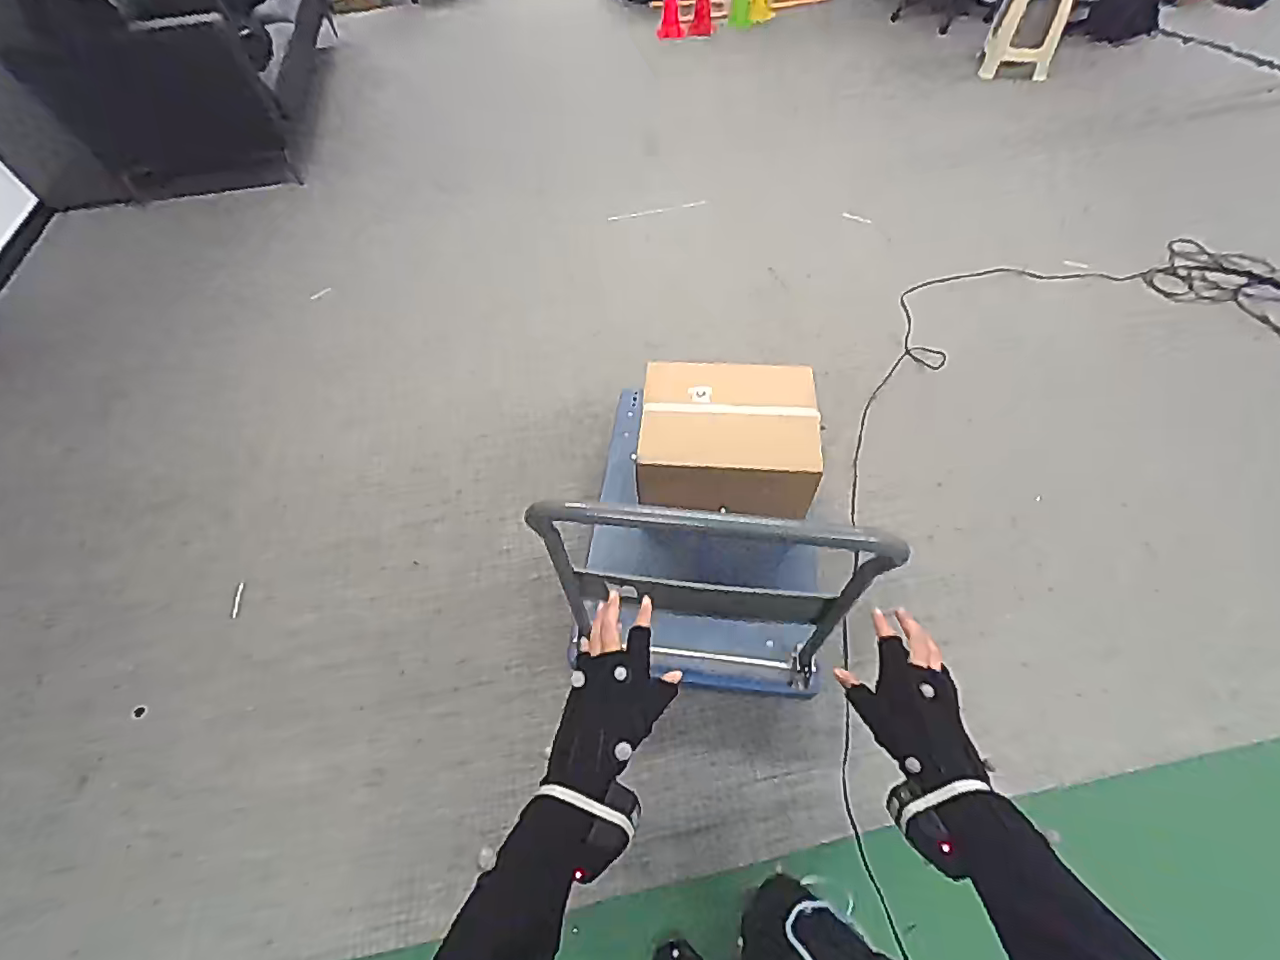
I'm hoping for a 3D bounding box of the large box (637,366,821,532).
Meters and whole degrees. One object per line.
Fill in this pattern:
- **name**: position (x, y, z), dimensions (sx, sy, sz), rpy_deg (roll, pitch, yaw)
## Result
- **large box**: position (0.214, -0.072, 1.380), dimensions (0.408, 0.320, 0.320), rpy_deg (1, 56, 6)
